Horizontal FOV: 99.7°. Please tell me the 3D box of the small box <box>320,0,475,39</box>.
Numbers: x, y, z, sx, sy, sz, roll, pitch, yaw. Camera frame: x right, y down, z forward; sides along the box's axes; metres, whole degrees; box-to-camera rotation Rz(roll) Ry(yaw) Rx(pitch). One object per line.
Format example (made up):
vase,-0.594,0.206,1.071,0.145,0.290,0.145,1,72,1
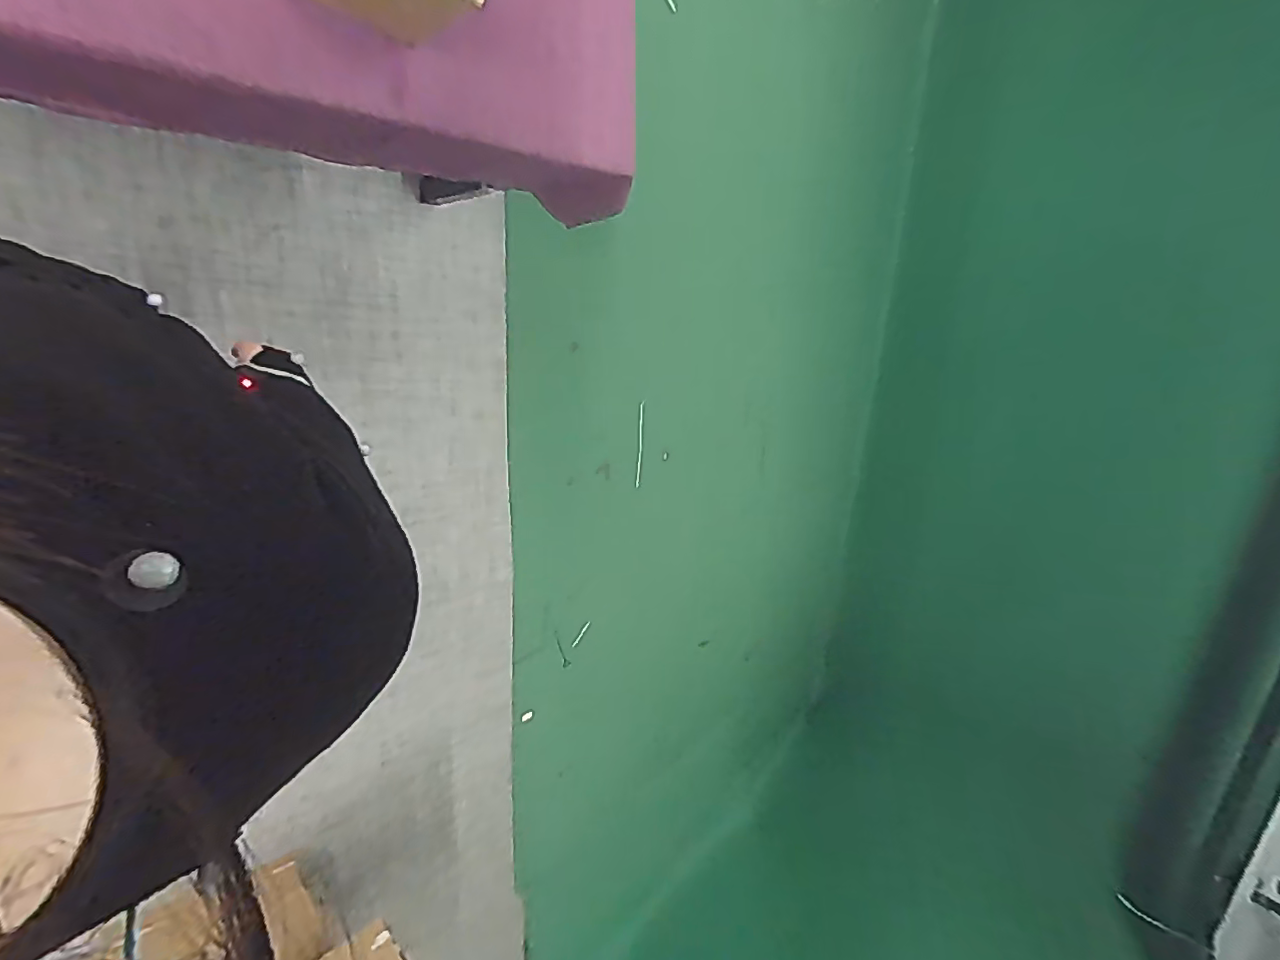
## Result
small box,-0.282,-0.610,0.566,0.179,0.176,0.168,-10,111,-45
